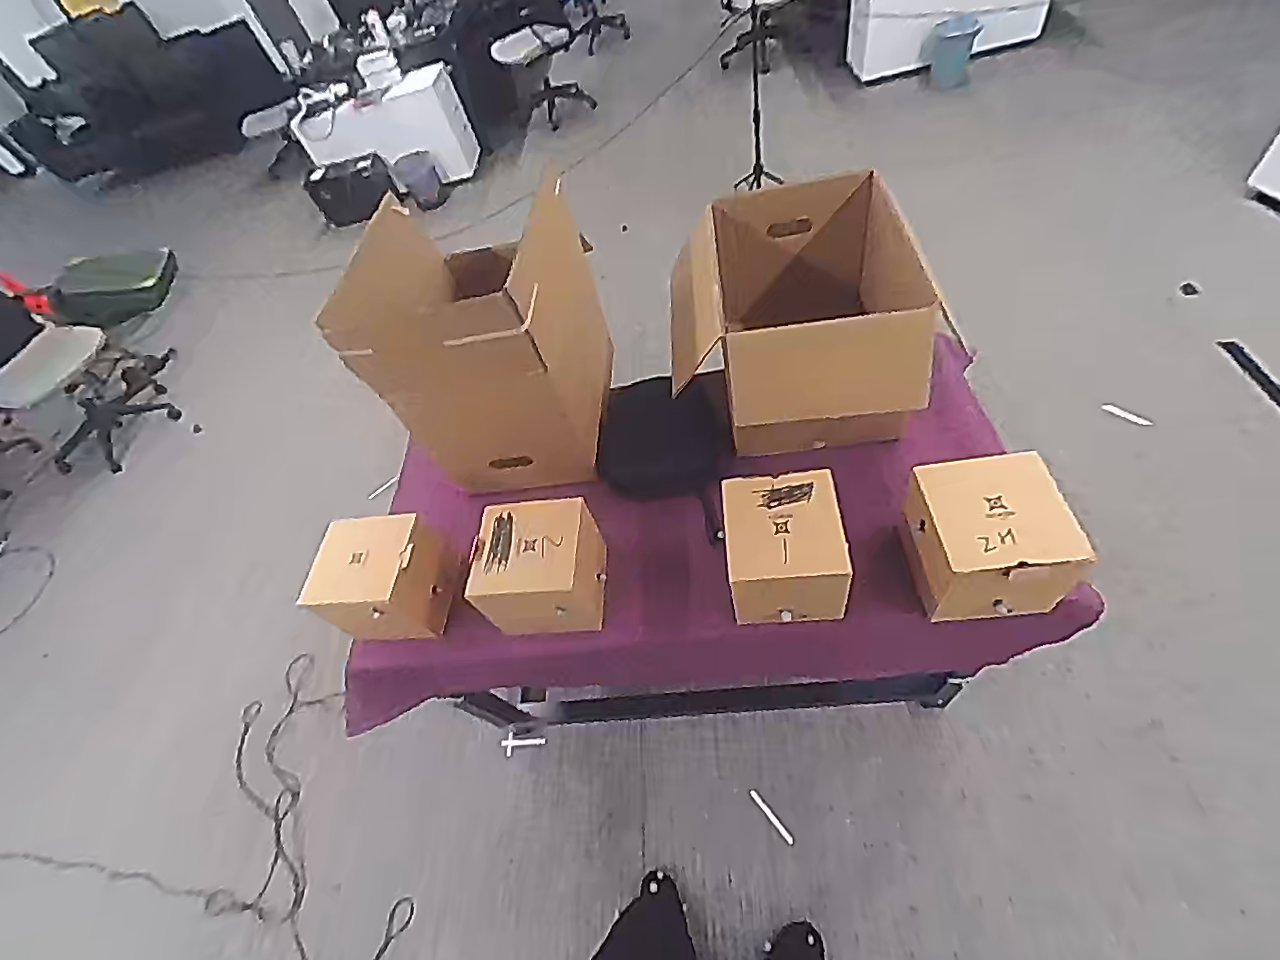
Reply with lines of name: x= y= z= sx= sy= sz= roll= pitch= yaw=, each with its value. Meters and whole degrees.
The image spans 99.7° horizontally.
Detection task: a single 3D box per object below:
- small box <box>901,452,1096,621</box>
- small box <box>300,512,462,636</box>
small box: x=0.495 y=0.086 z=0.783 sx=0.168 sy=0.176 sz=0.179 roll=-8 pitch=53 yaw=11
small box: x=-0.455 y=0.175 z=0.979 sx=0.179 sy=0.176 sz=0.168 roll=-4 pitch=54 yaw=10
